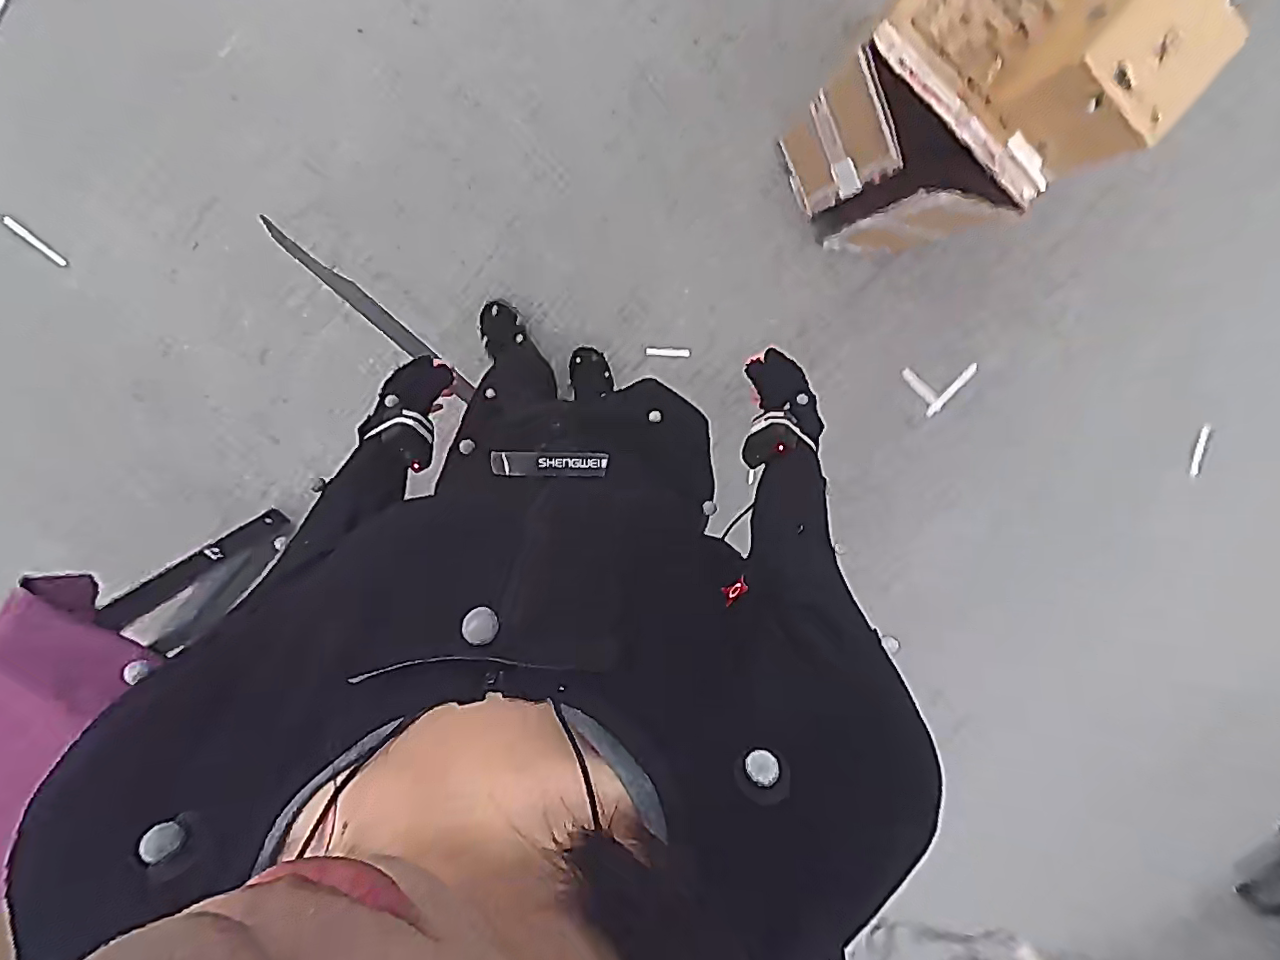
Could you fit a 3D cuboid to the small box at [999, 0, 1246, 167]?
[{"bbox_3d":[0.684,-0.604,0.789,0.168,0.176,0.179,37,100,-14],"label":"small box"}]
